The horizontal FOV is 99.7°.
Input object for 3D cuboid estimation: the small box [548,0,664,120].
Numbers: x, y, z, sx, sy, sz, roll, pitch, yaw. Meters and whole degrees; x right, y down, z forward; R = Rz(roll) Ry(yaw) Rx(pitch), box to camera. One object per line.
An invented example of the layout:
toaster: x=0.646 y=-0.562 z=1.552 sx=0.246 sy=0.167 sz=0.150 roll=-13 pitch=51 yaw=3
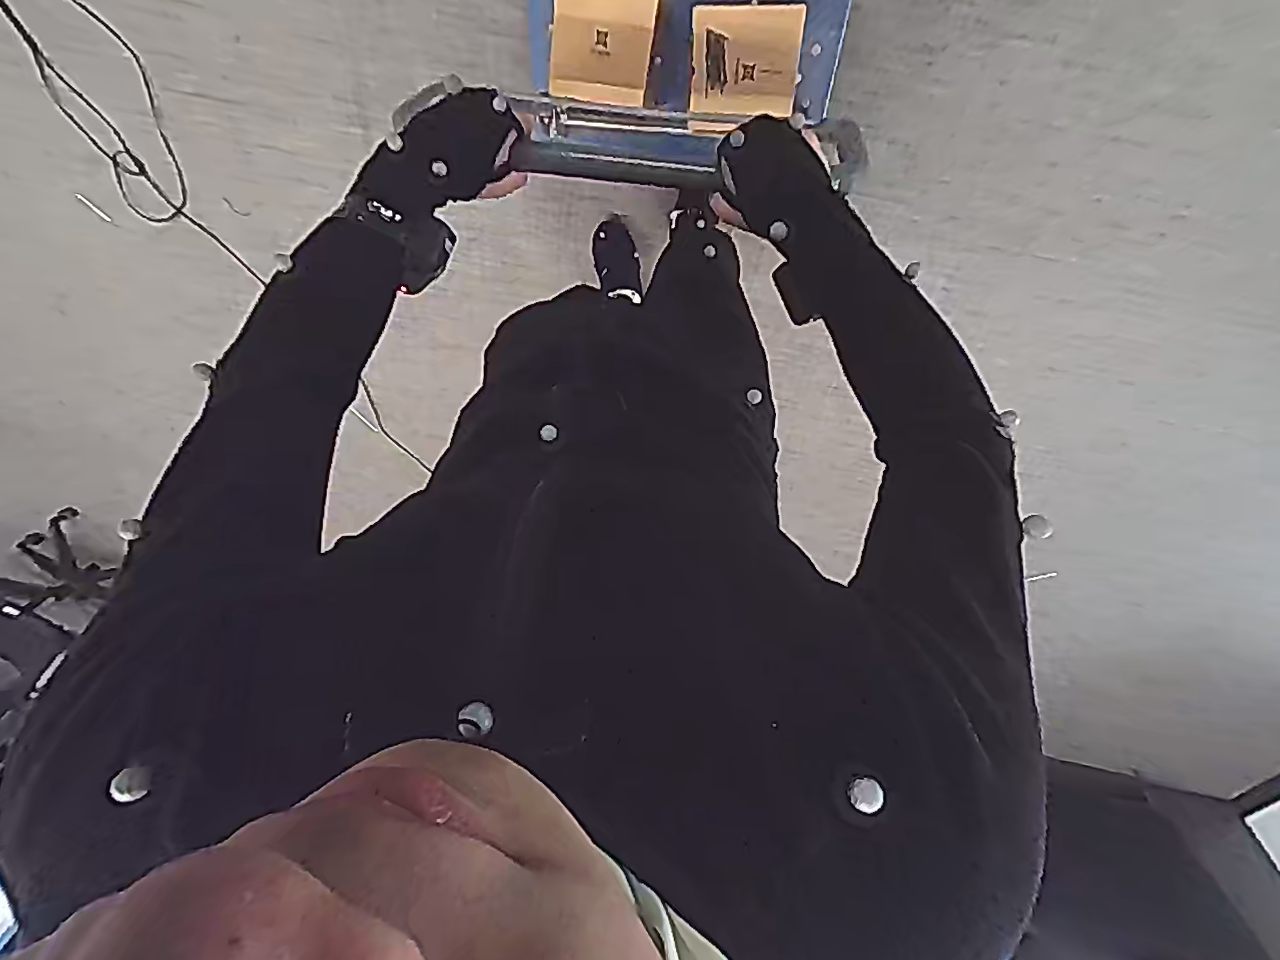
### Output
small box: x=-0.055 y=-0.754 z=0.948 sx=0.168 sy=0.176 sz=0.179 roll=13 pitch=126 yaw=-1
